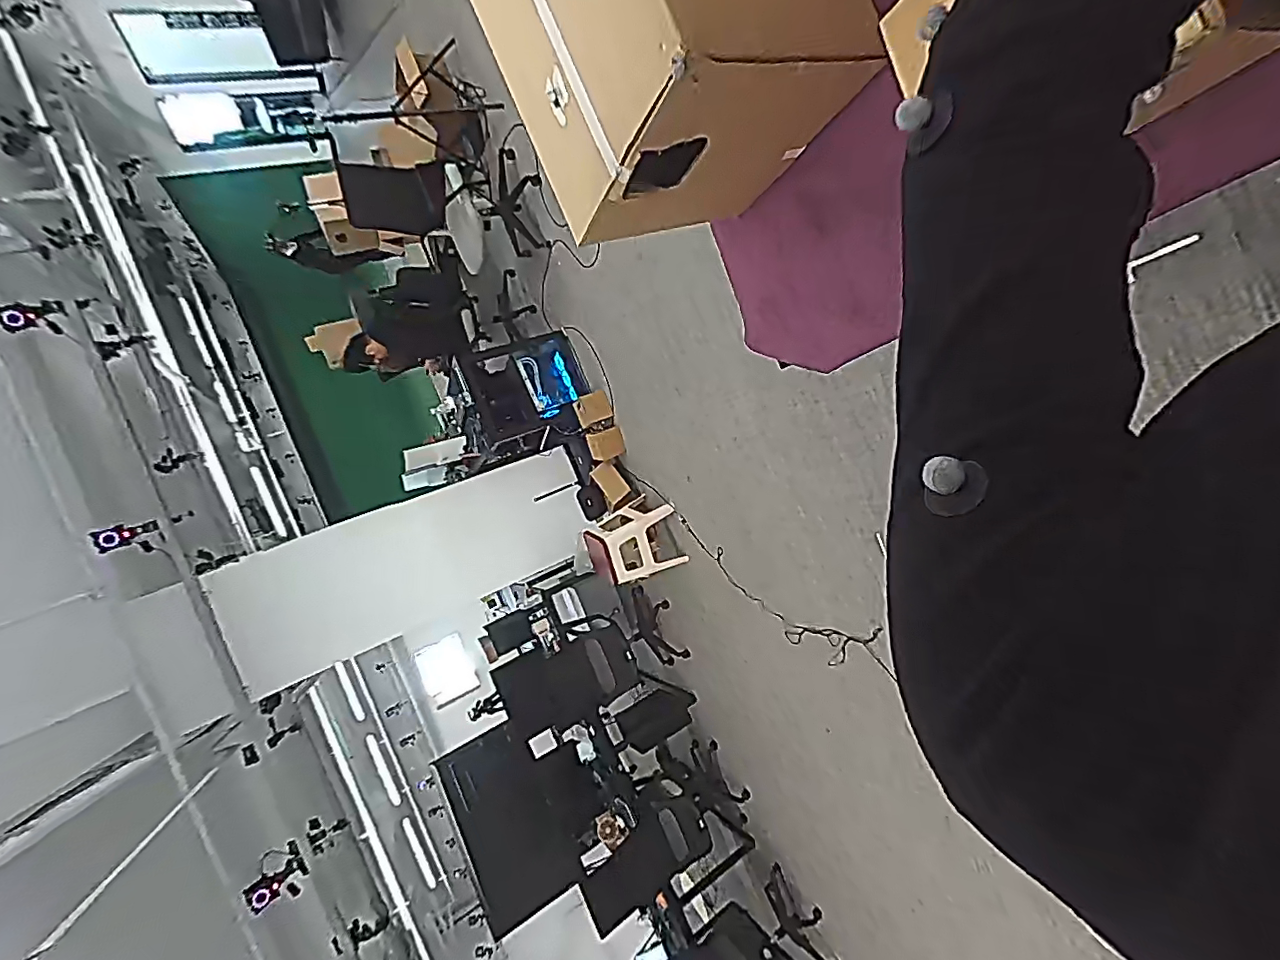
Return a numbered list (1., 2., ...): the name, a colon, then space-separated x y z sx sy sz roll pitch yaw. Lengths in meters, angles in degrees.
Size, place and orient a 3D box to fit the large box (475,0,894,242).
1. large box: 0.030 -0.592 0.681 0.408 0.320 0.320 65 155 -1
